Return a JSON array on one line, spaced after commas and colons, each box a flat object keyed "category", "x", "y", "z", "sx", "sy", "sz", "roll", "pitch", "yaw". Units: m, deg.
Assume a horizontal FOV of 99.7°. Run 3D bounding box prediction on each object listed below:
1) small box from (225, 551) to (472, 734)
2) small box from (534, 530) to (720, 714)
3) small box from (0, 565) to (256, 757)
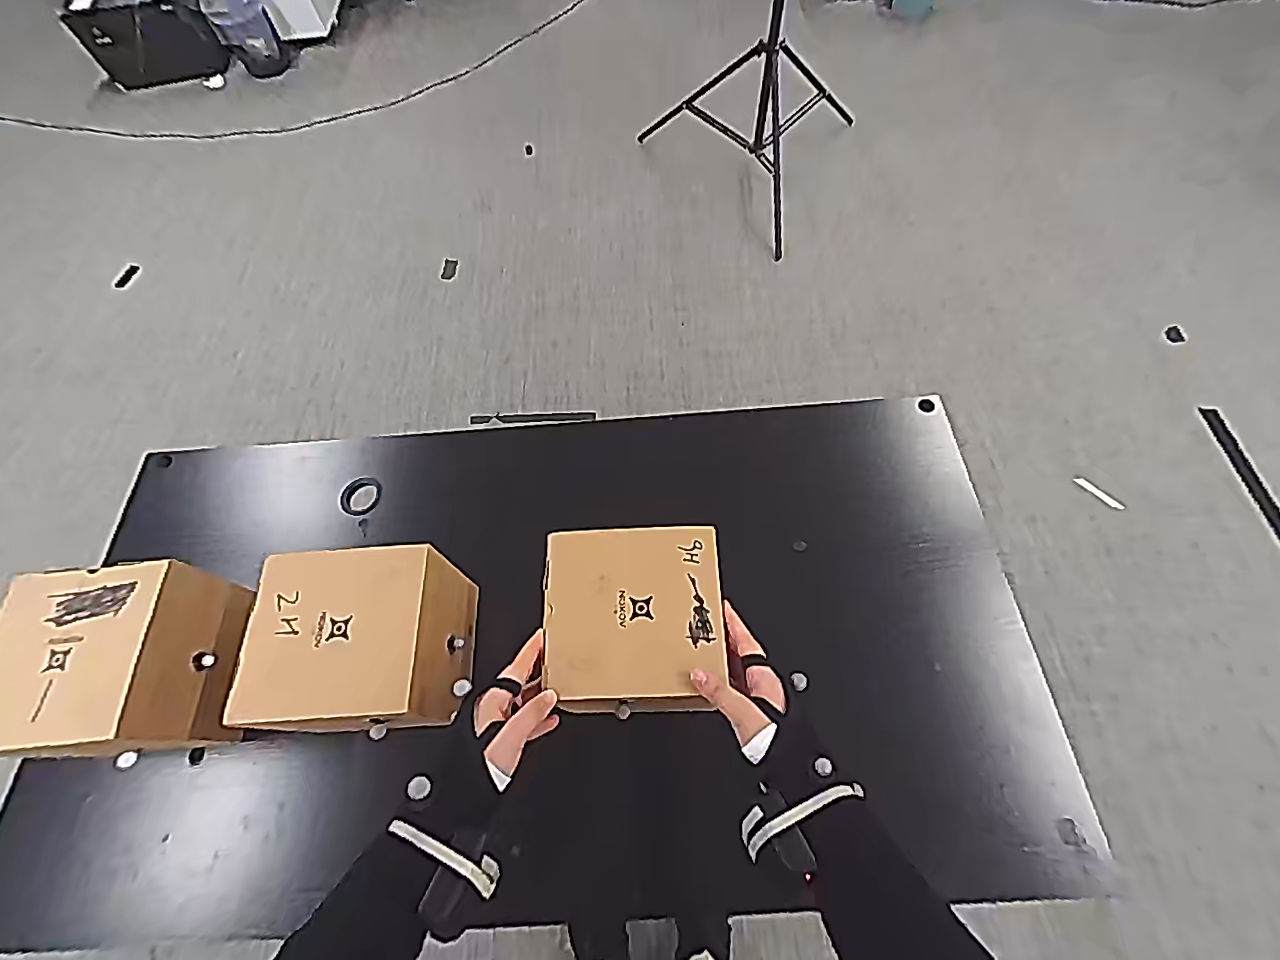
[{"category": "small box", "x": -0.300, "y": 0.188, "z": 0.606, "sx": 0.179, "sy": 0.176, "sz": 0.168, "roll": -4, "pitch": 62, "yaw": 0}, {"category": "small box", "x": -0.008, "y": 0.165, "z": 0.602, "sx": 0.179, "sy": 0.176, "sz": 0.168, "roll": -3, "pitch": 63, "yaw": 3}, {"category": "small box", "x": -0.566, "y": 0.210, "z": 0.611, "sx": 0.168, "sy": 0.176, "sz": 0.179, "roll": -6, "pitch": 64, "yaw": 0}]
